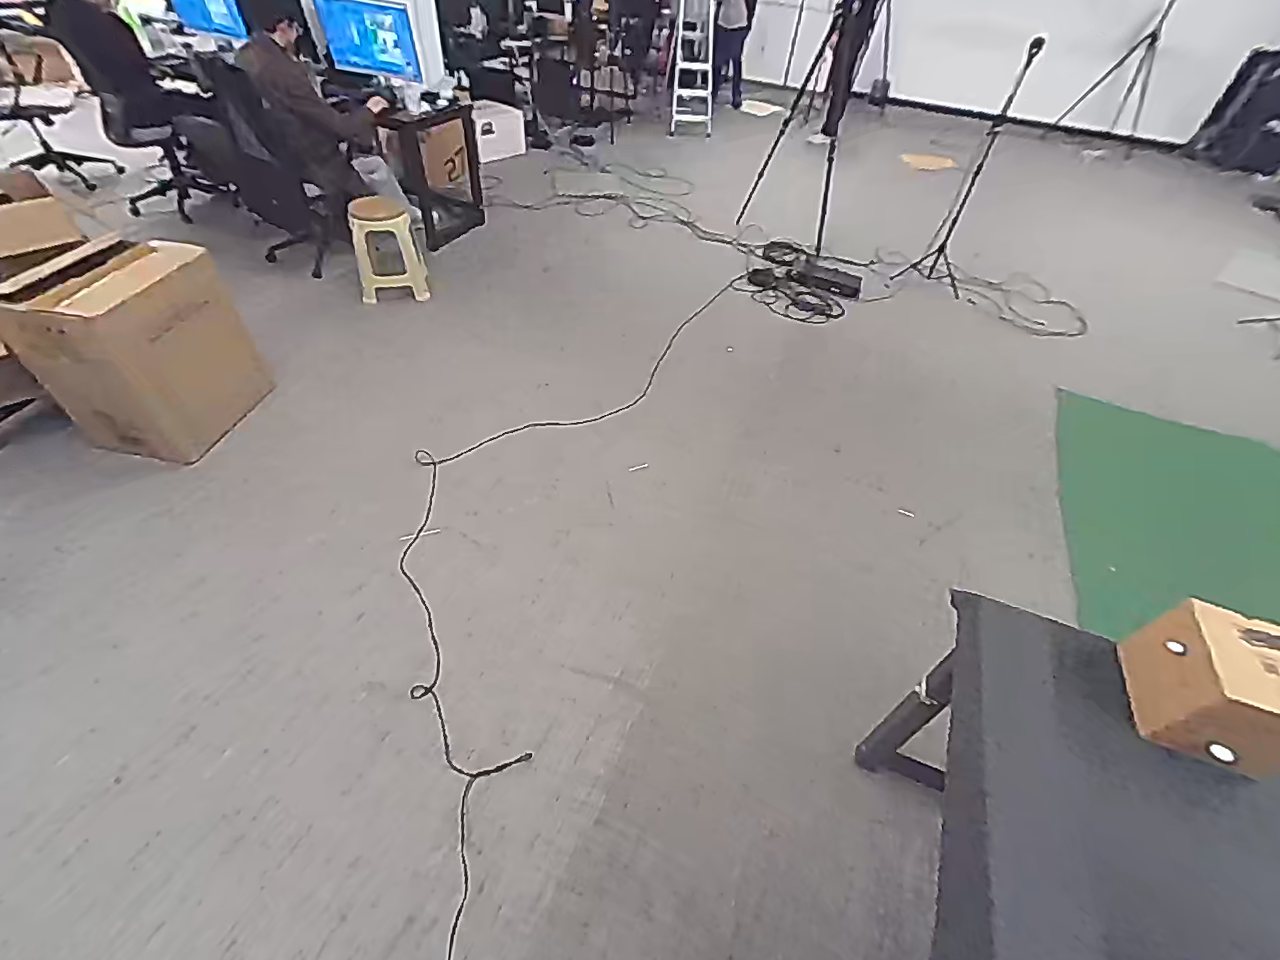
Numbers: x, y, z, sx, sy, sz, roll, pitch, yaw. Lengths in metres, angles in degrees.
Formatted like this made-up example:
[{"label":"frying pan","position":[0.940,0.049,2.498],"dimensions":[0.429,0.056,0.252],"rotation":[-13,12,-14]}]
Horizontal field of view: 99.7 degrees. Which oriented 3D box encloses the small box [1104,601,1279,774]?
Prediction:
[{"label":"small box","position":[0.904,0.335,0.872],"dimensions":[0.168,0.176,0.179],"rotation":[19,46,10]}]
